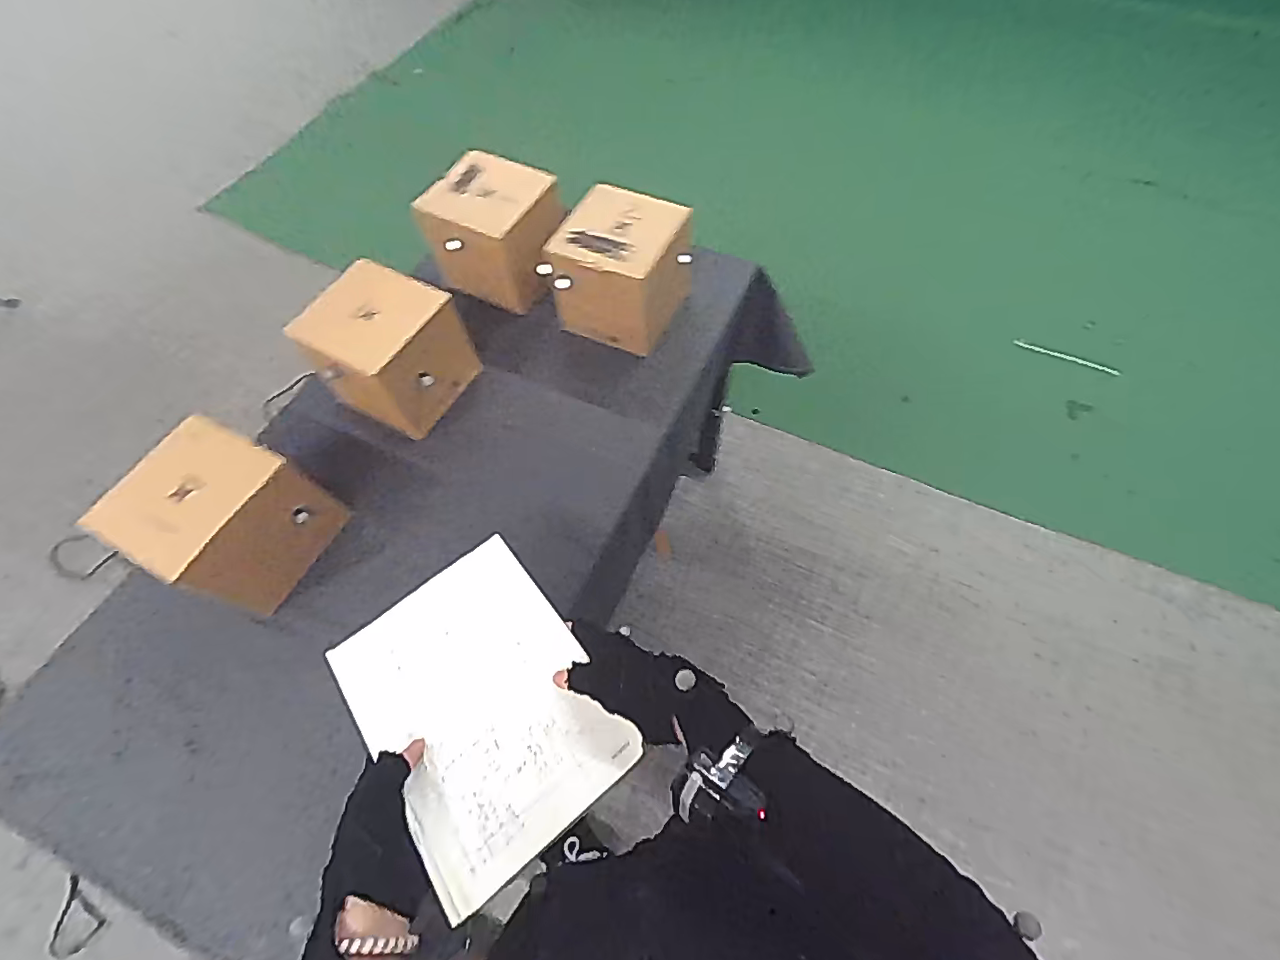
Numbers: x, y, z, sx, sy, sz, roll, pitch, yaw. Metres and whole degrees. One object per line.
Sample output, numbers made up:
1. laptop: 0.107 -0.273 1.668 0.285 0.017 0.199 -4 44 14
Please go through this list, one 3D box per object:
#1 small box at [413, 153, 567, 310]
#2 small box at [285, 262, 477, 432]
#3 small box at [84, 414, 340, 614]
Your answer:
1. small box: -0.252 -0.431 0.953 0.179 0.176 0.168 25 67 14
2. small box: -0.385 -0.198 0.843 0.179 0.176 0.168 25 67 15
3. small box: -0.539 0.050 0.718 0.168 0.176 0.179 24 65 15
